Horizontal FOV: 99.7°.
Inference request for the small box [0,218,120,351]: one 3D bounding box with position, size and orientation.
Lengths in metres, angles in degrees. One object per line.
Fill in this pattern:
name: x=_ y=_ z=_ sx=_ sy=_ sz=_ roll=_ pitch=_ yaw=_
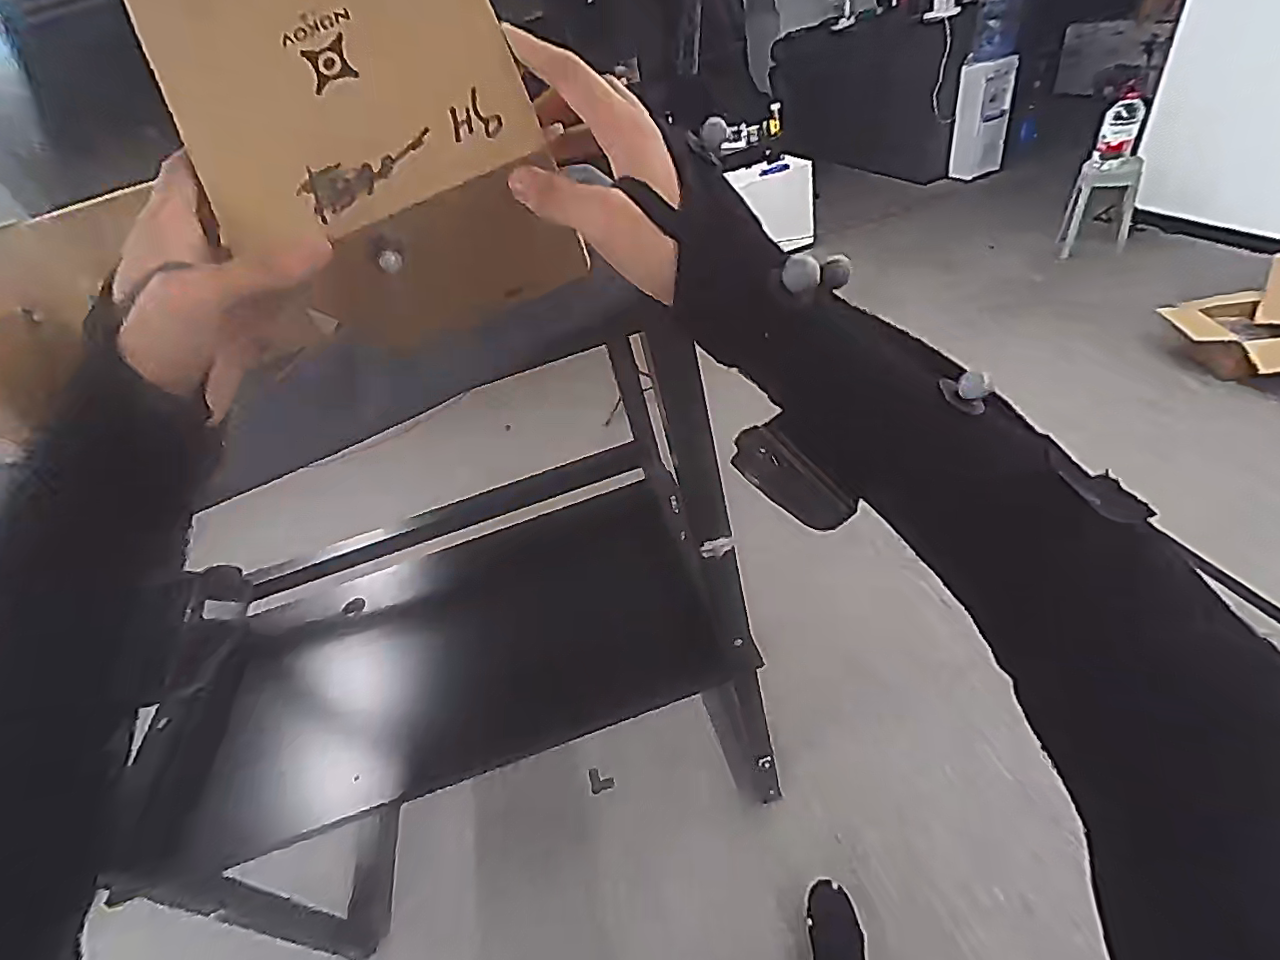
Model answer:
small box: x=-0.861 y=-0.217 z=0.712 sx=0.168 sy=0.176 sz=0.179 roll=-19 pitch=39 yaw=-3
